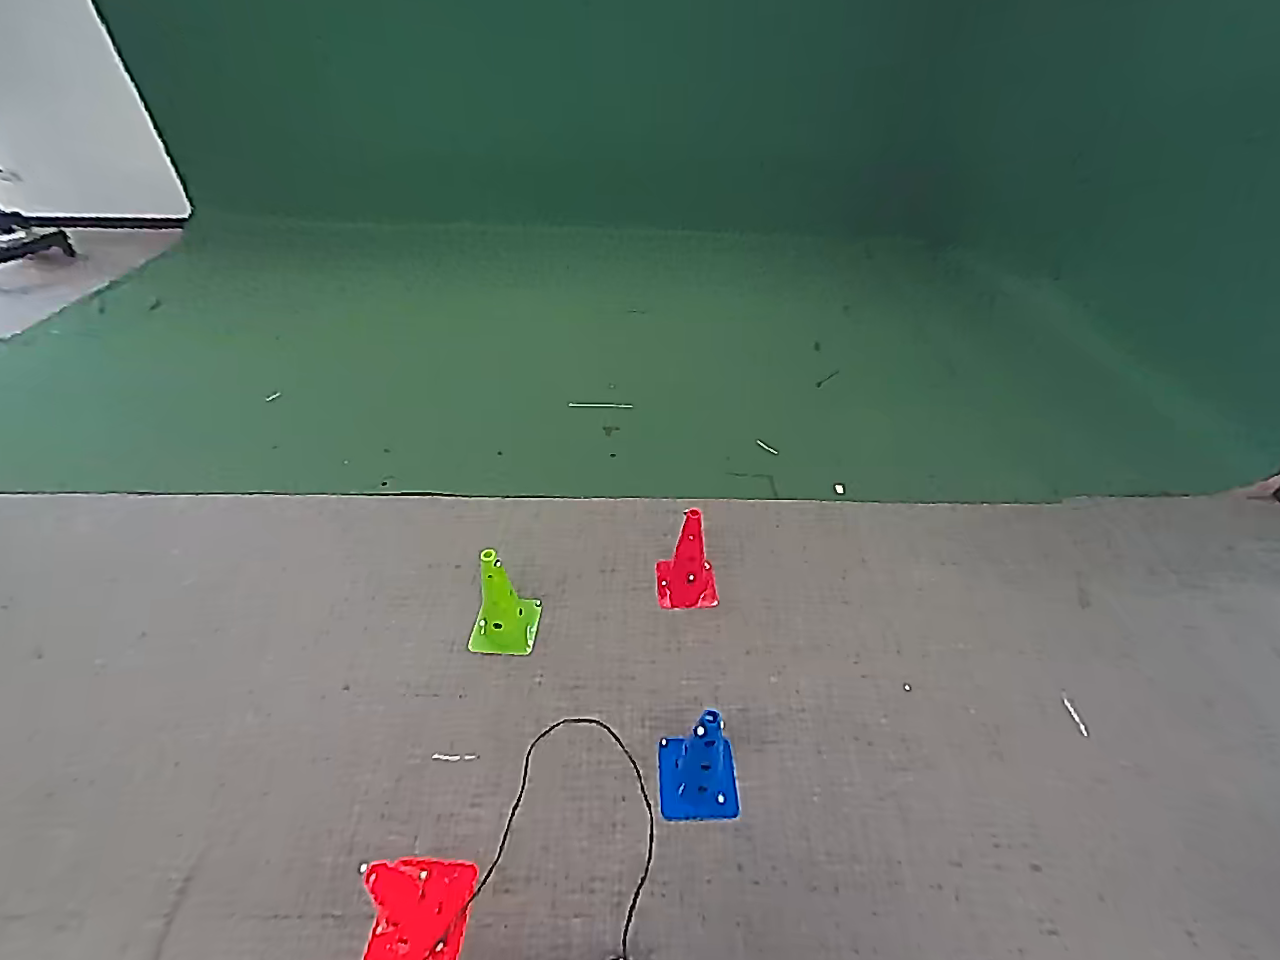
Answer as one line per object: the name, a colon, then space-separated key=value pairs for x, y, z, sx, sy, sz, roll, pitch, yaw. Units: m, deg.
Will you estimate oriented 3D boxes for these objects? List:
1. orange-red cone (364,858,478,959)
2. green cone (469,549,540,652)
orange-red cone: x=-0.469 y=0.826 z=1.076 sx=0.198 sy=0.360 sz=0.199 roll=5 pitch=41 yaw=2
green cone: x=-0.429 y=0.333 z=1.615 sx=0.200 sy=0.368 sz=0.202 roll=2 pitch=43 yaw=1
